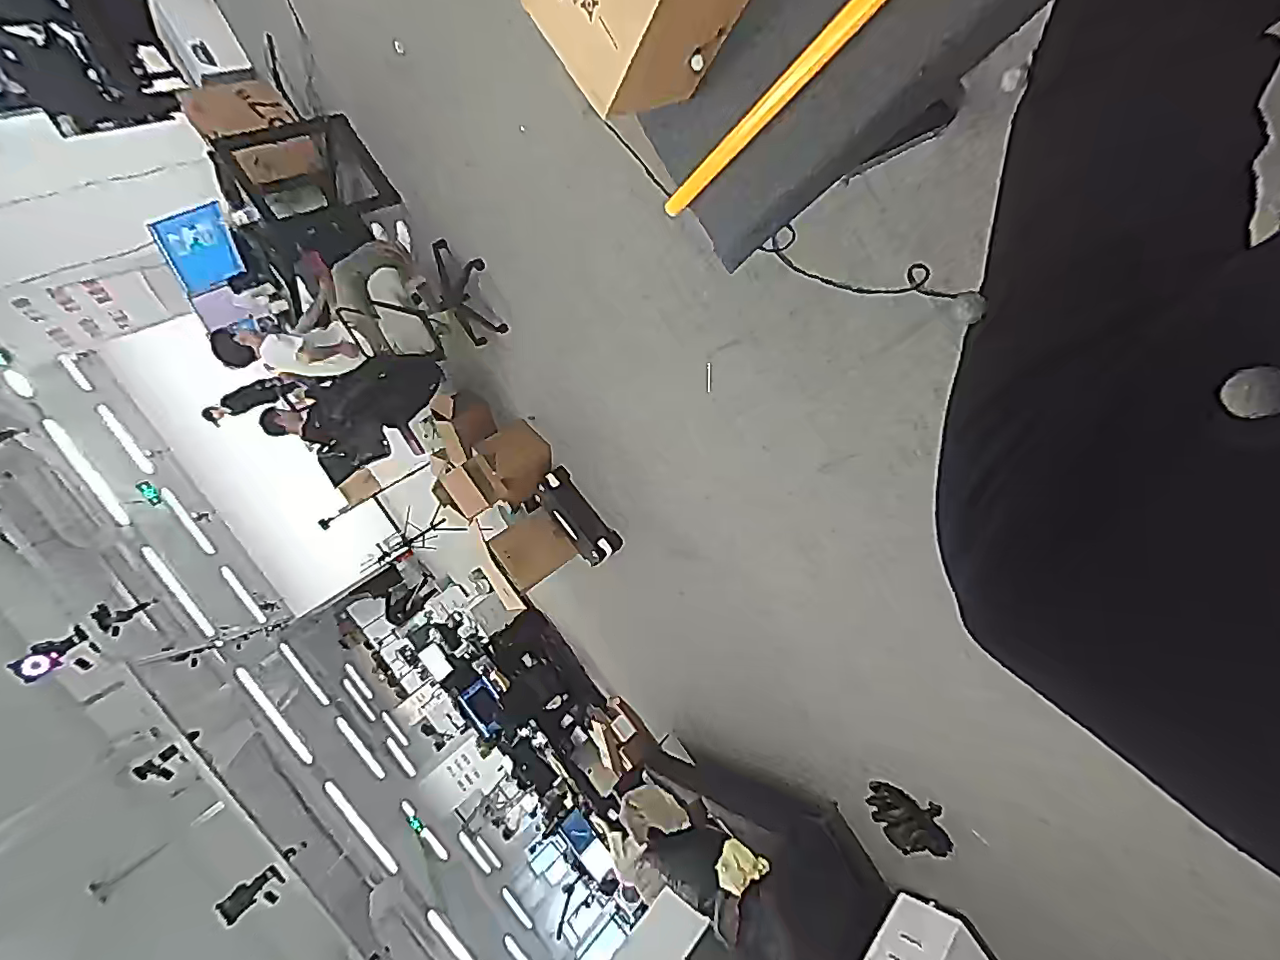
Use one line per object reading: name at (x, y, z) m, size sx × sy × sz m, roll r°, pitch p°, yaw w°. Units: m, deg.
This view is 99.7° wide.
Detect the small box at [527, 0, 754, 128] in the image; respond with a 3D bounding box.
small box at (-0.001, -0.572, 0.650) m, size 0.179 × 0.176 × 0.168 m, roll 56°, pitch 150°, yaw -4°
